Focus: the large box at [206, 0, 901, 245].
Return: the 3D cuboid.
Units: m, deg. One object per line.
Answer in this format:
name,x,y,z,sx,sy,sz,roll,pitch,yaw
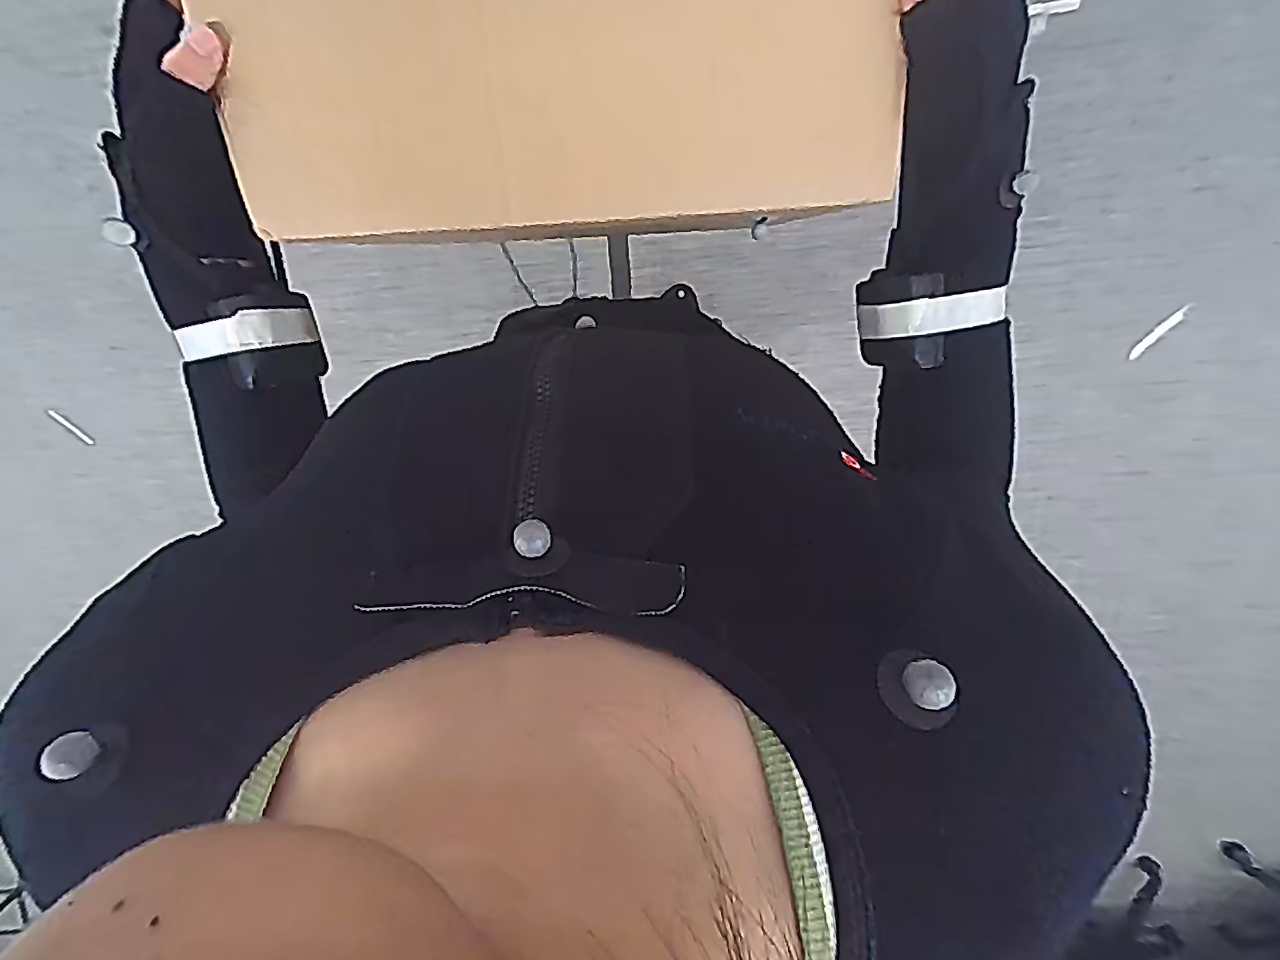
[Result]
large box,-0.050,-0.370,0.431,0.408,0.320,0.320,-3,113,0
